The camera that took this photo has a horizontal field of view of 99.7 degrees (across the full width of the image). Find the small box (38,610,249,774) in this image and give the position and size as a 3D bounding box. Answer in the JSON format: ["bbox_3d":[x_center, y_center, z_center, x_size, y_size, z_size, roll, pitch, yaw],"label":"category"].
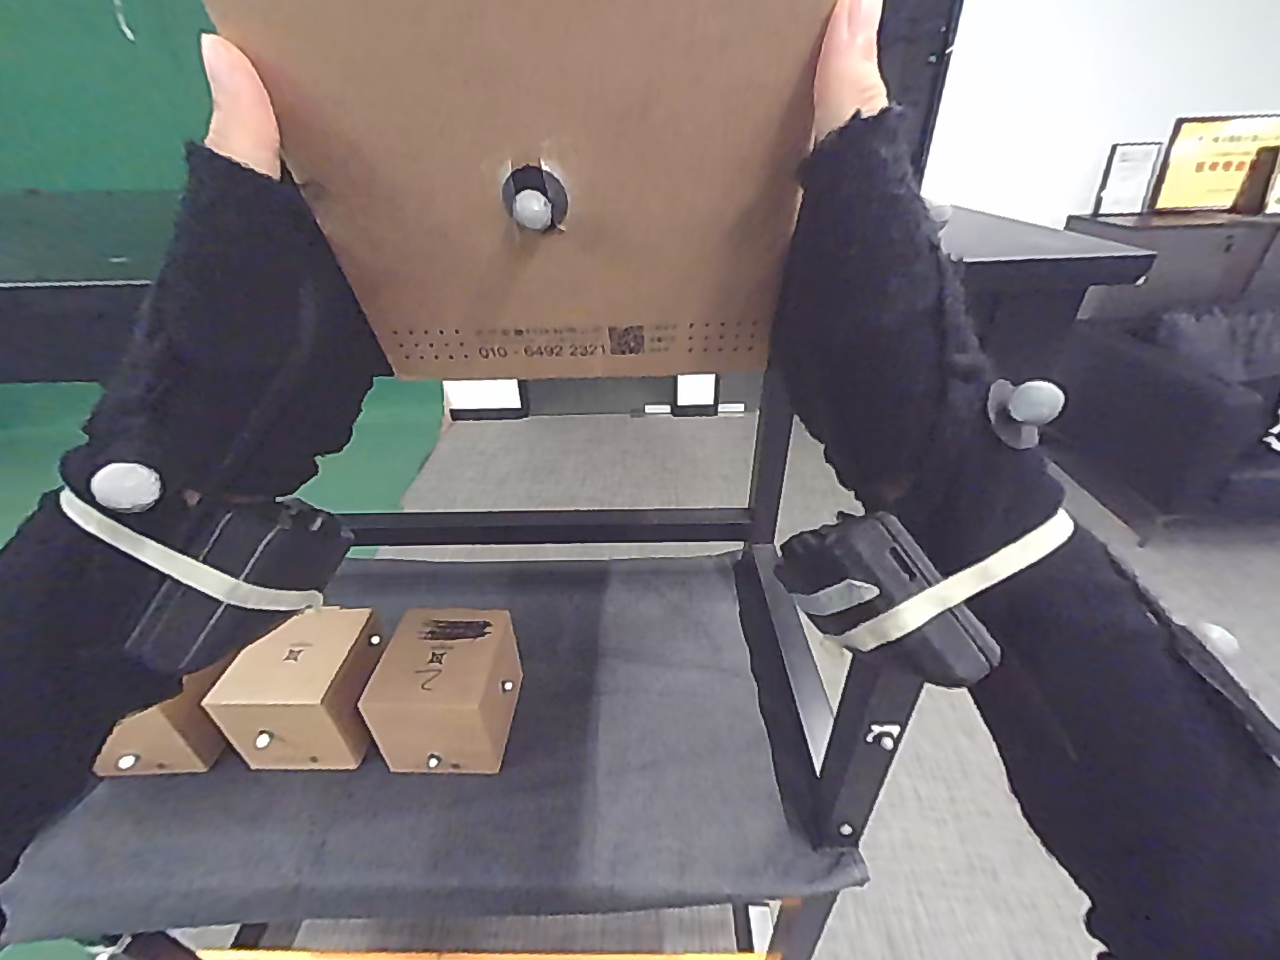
[{"bbox_3d":[-0.730,0.325,0.839,0.168,0.176,0.179,-2,33,-1],"label":"small box"}]

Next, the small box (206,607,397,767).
[{"bbox_3d":[-0.503,0.321,0.840,0.168,0.176,0.179,0,32,1],"label":"small box"}]

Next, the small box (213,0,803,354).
[{"bbox_3d":[-0.032,-0.168,0.230,0.168,0.176,0.179,-1,52,1],"label":"small box"}]
